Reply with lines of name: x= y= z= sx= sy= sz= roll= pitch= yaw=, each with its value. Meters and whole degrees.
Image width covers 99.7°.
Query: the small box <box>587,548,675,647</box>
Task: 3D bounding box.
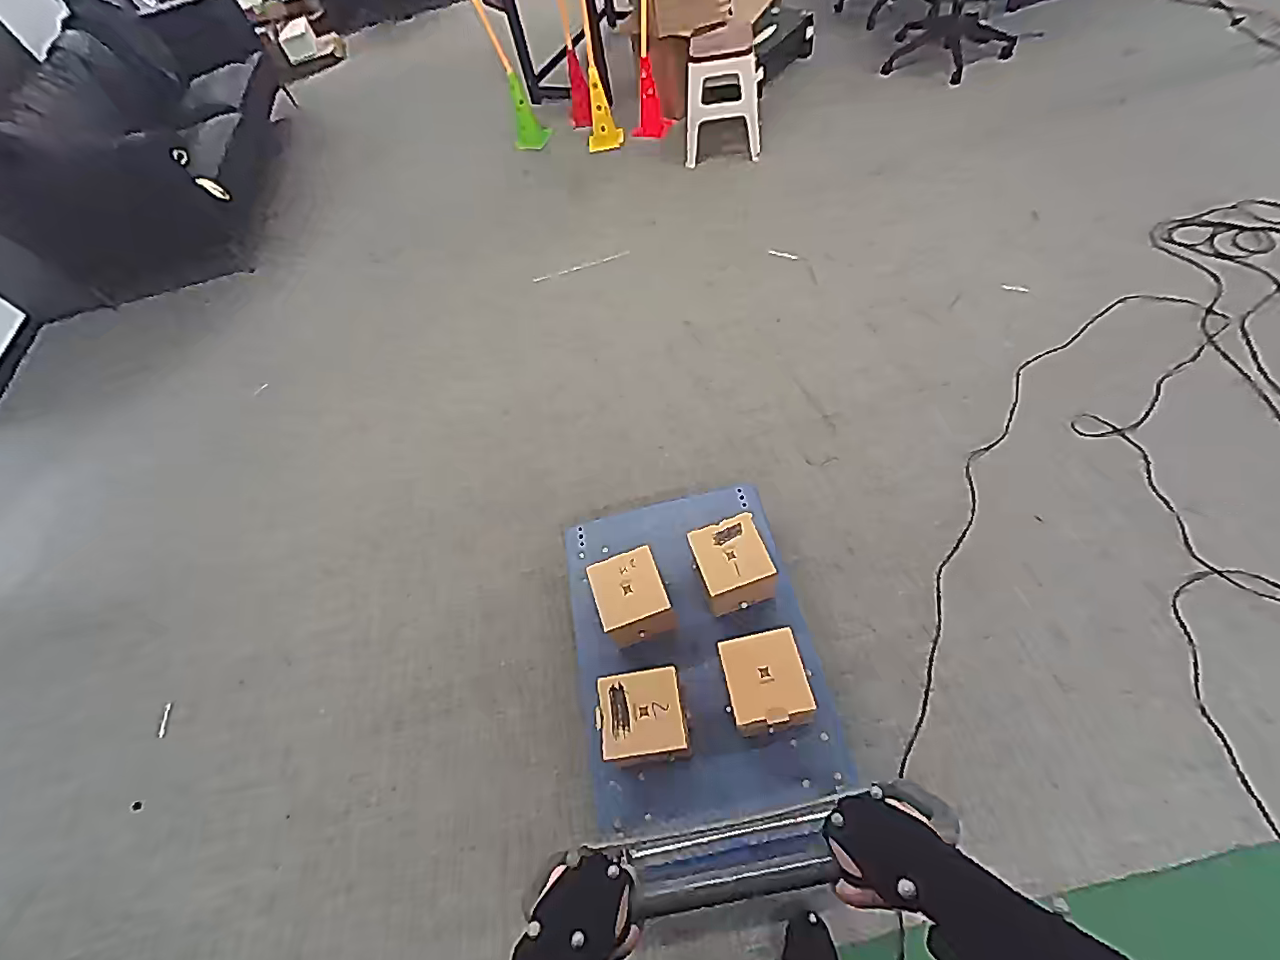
small box: x=-0.018 y=0.304 z=1.359 sx=0.168 sy=0.176 sz=0.179 roll=-19 pitch=57 yaw=-3

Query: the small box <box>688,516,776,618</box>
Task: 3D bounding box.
small box: x=0.229 y=0.223 z=1.364 sx=0.168 sy=0.176 sz=0.179 roll=-20 pitch=58 yaw=-1

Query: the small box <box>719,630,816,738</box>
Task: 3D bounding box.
small box: x=0.277 y=0.459 z=1.209 sx=0.168 sy=0.176 sz=0.179 roll=-13 pitch=57 yaw=2
